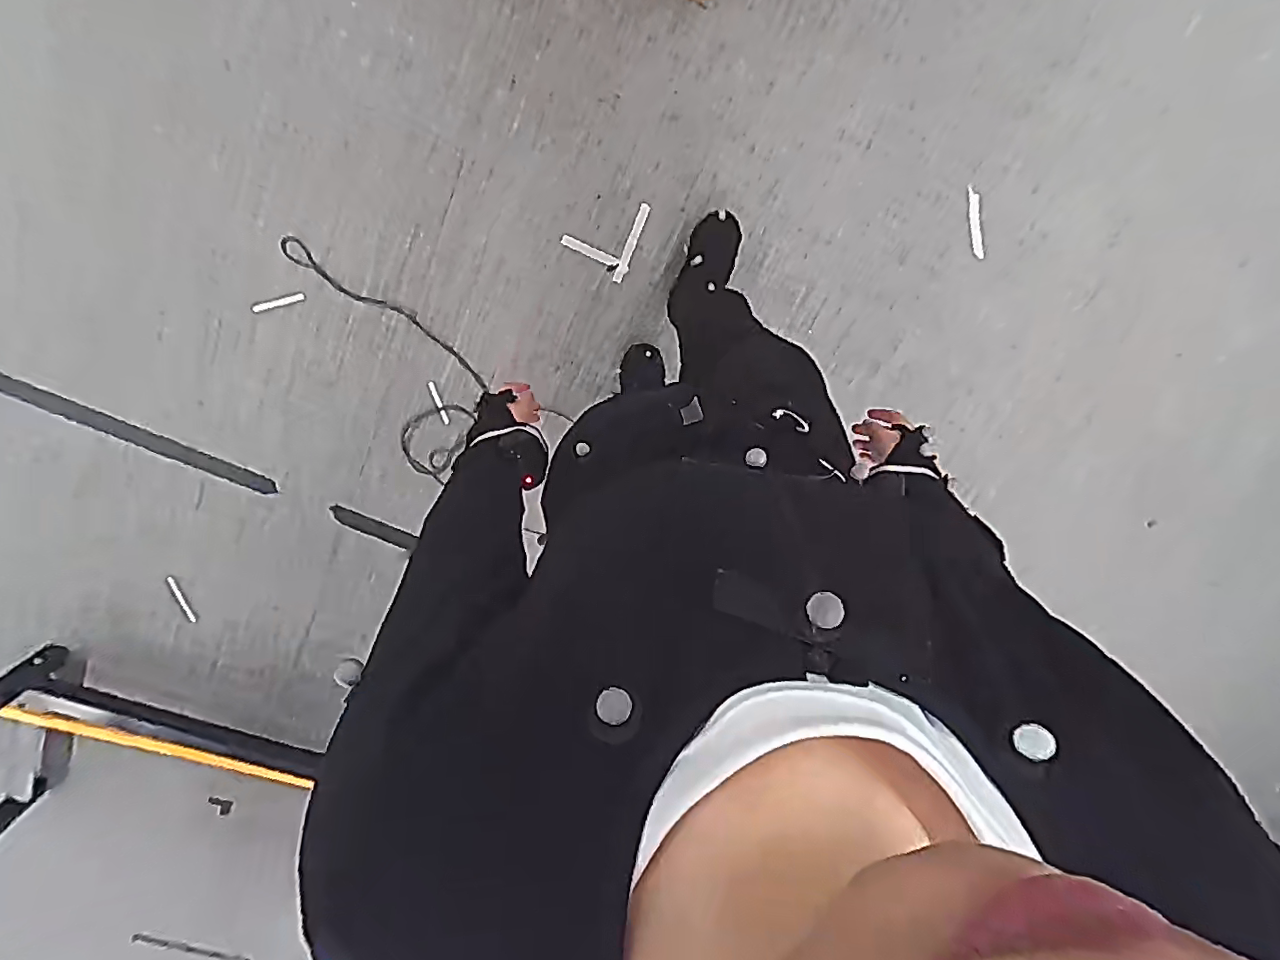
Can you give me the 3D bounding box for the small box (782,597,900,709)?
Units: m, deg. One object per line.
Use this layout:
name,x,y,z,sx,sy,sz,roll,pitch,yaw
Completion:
small box,0.476,0.411,1.307,0.179,0.176,0.168,22,106,-11
